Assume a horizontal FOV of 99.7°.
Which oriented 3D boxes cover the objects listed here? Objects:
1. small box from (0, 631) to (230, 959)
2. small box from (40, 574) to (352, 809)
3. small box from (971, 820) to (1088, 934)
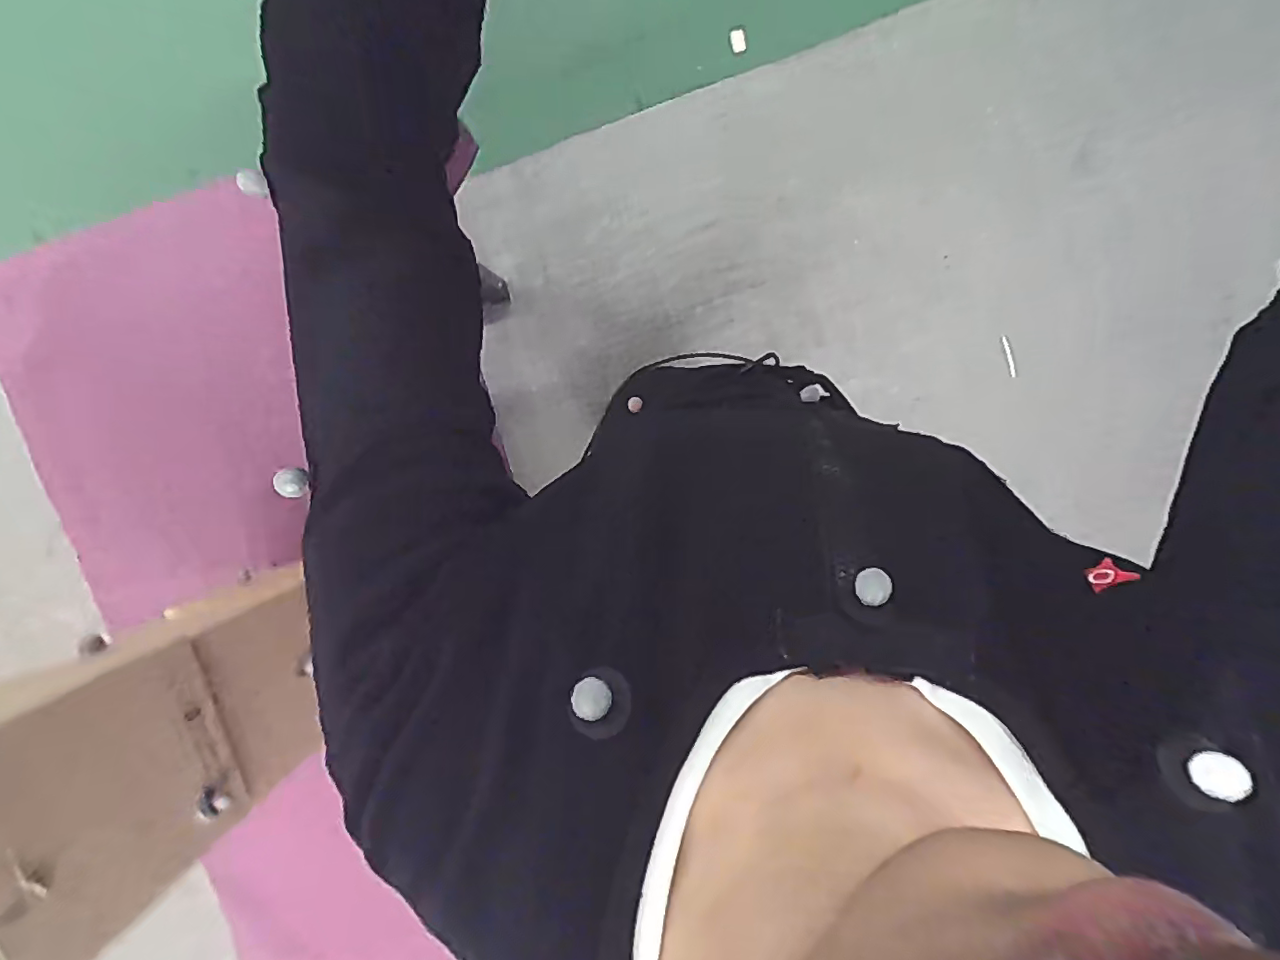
[{"bbox_3d":[-0.439,0.226,0.381,0.179,0.176,0.168,-14,97,6],"label":"small box"},{"bbox_3d":[-0.437,0.211,0.545,0.179,0.176,0.168,-15,97,5],"label":"small box"},{"bbox_3d":[1.043,1.060,1.459,0.179,0.176,0.168,-18,95,5],"label":"small box"}]
